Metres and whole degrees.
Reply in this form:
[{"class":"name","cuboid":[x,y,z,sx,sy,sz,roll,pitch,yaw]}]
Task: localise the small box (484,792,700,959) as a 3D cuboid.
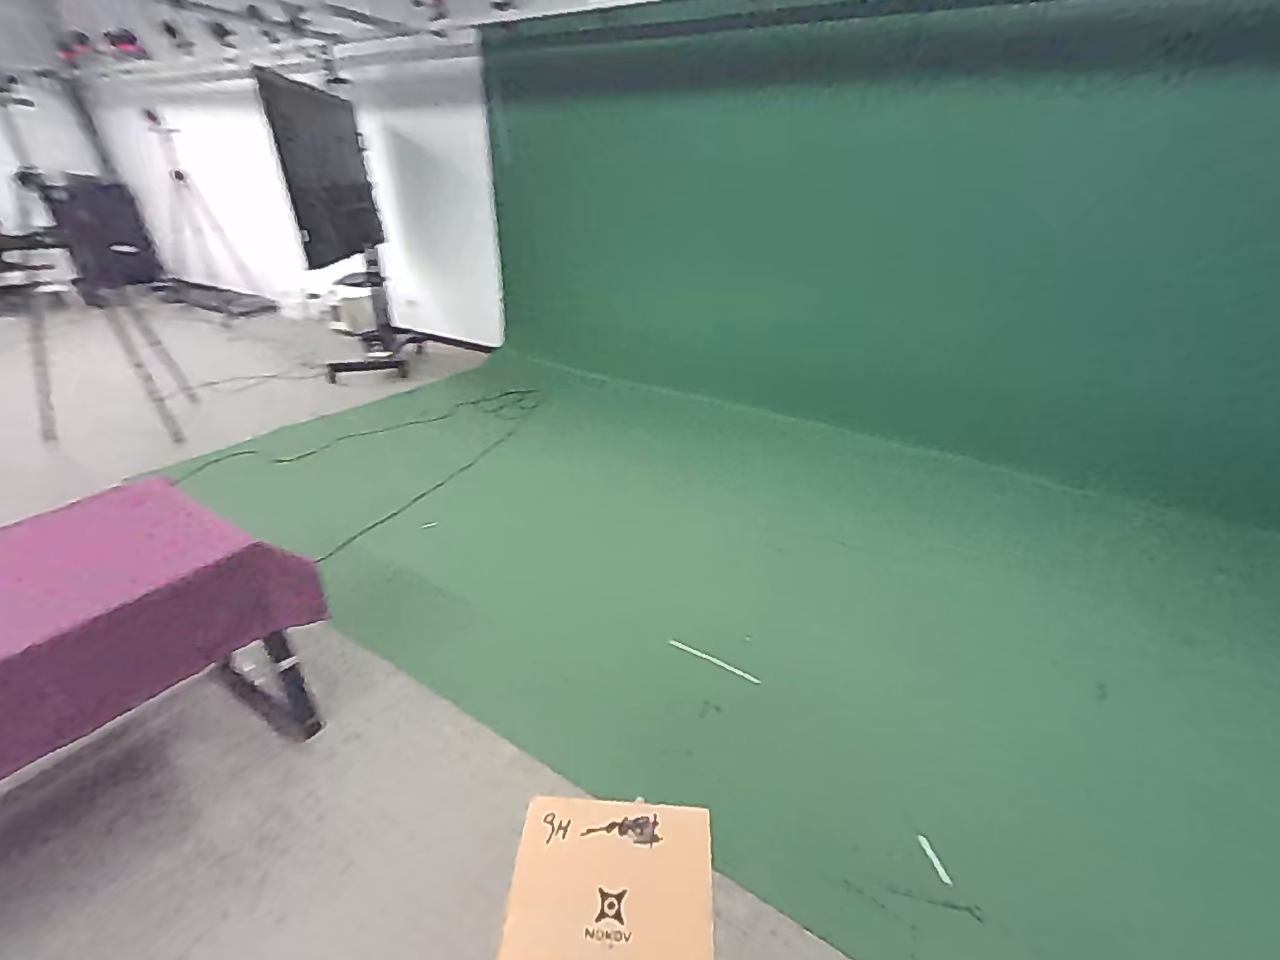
[{"class":"small box","cuboid":[-0.031,0.406,0.474,0.168,0.176,0.179,1,37,3]}]
